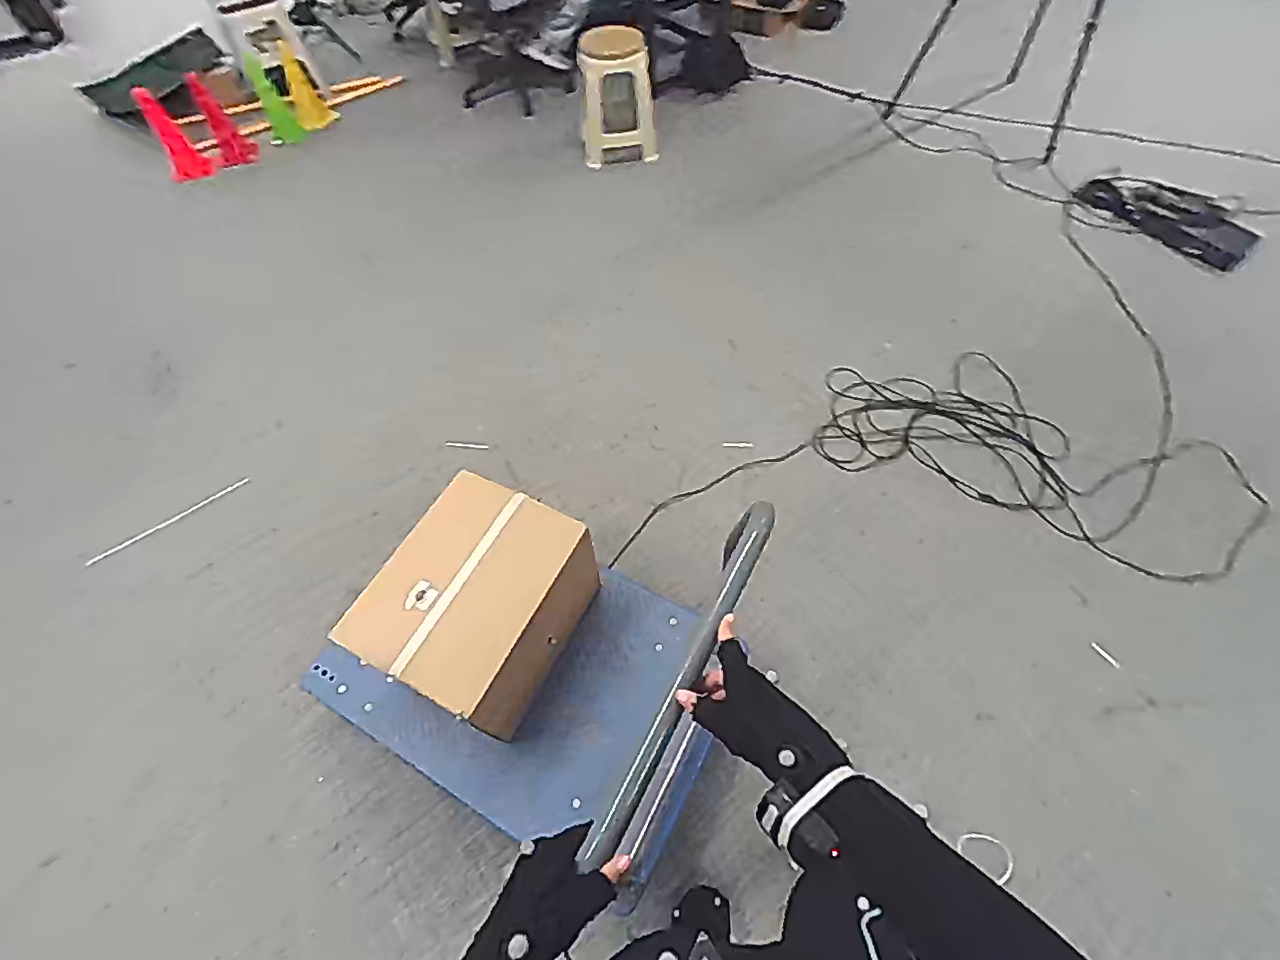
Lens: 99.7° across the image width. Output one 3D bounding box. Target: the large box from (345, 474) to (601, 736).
[{"bbox_3d":[-0.311,0.268,1.155,0.320,0.320,0.408,21,62,15],"label":"large box"}]
